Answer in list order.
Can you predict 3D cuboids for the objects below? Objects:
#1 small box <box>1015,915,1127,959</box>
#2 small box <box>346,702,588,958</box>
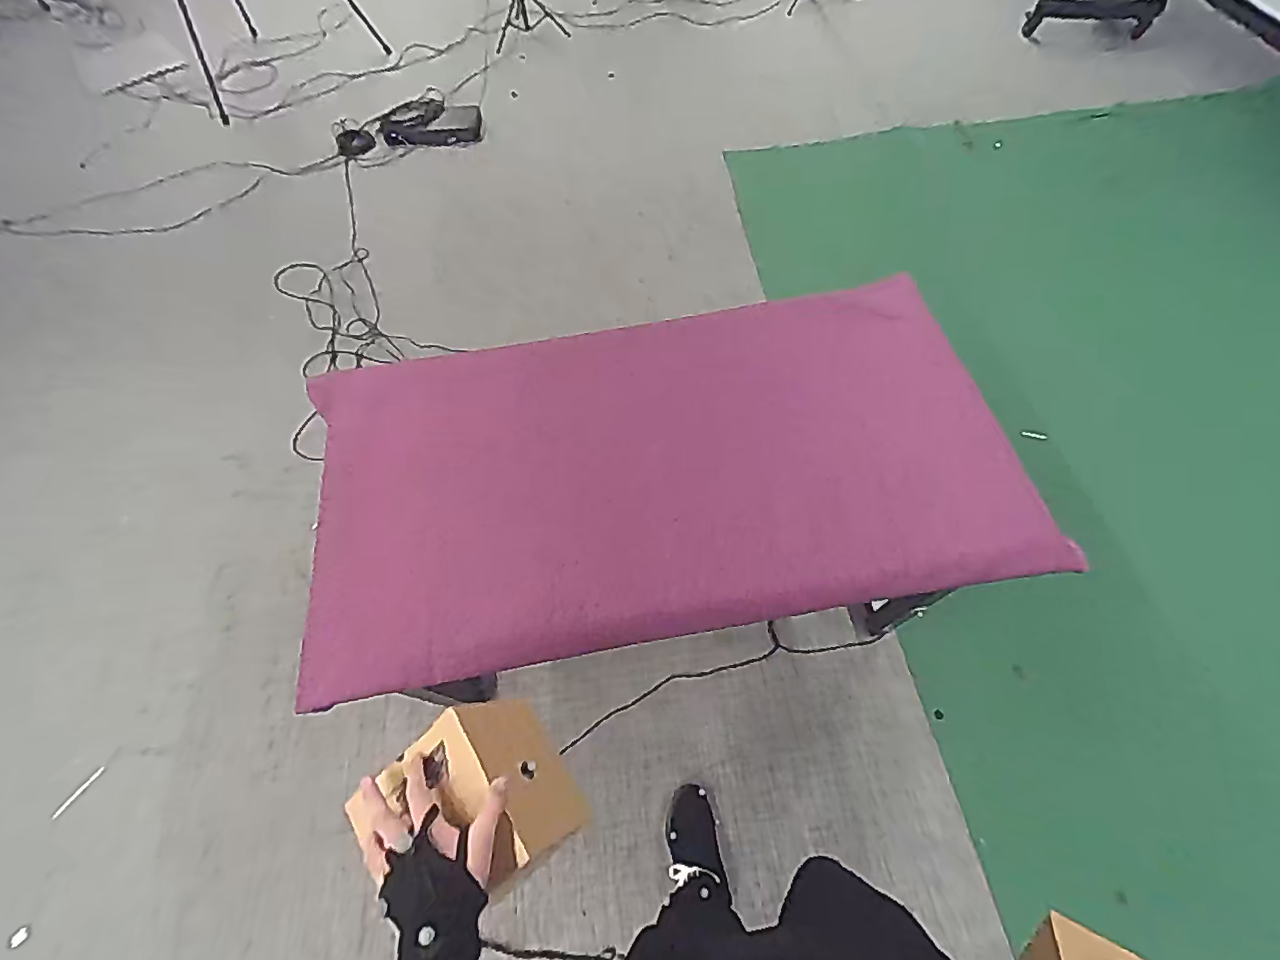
[{"bbox_3d":[0.492,0.633,0.562,0.168,0.176,0.179,21,20,24],"label":"small box"},{"bbox_3d":[-0.193,0.384,0.636,0.168,0.176,0.179,-42,65,2],"label":"small box"}]
